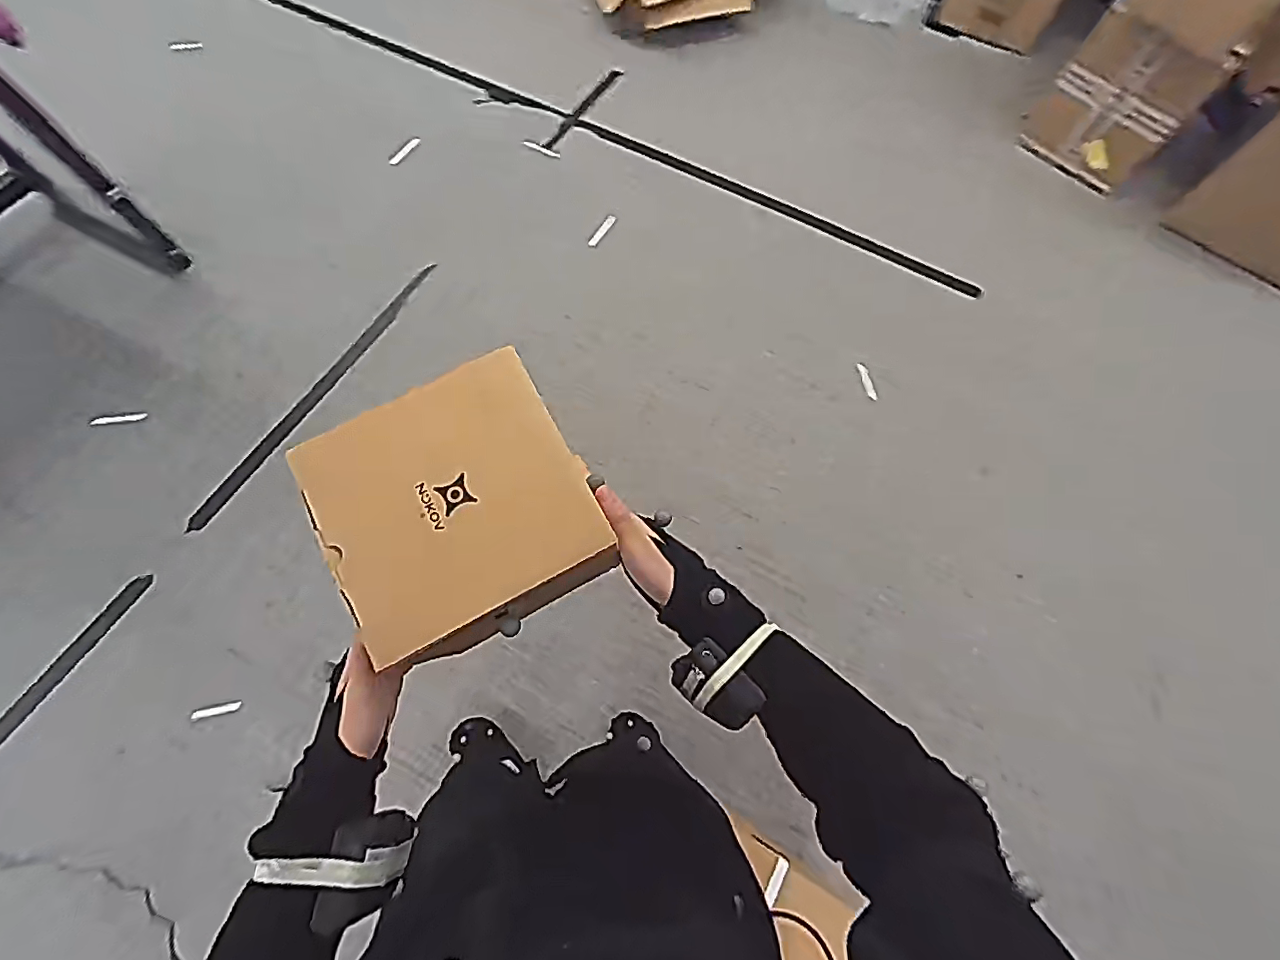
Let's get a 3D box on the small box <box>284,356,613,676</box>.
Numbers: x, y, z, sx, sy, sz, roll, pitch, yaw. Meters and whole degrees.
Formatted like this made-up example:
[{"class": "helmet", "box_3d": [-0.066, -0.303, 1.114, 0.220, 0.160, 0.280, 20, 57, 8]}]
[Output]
[{"class": "small box", "box_3d": [-0.134, 0.033, 0.447, 0.179, 0.176, 0.168, -29, 80, -6]}]
